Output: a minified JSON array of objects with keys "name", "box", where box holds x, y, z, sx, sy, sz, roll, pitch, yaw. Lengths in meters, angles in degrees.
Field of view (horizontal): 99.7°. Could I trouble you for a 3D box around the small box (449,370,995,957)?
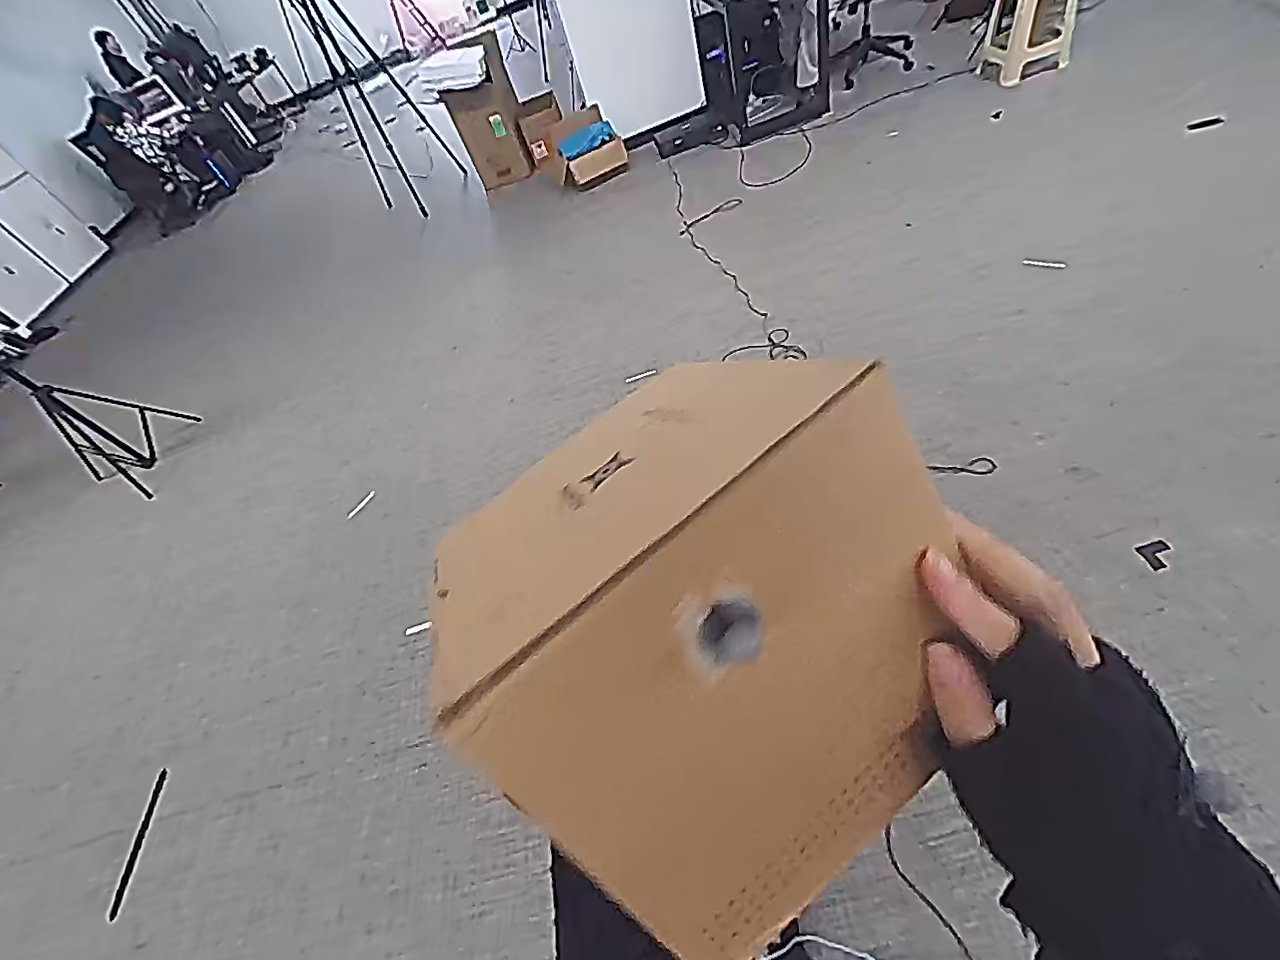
[{"name":"small box","box":[0.031,0.066,0.267,0.179,0.176,0.168,-37,20,-11]}]
